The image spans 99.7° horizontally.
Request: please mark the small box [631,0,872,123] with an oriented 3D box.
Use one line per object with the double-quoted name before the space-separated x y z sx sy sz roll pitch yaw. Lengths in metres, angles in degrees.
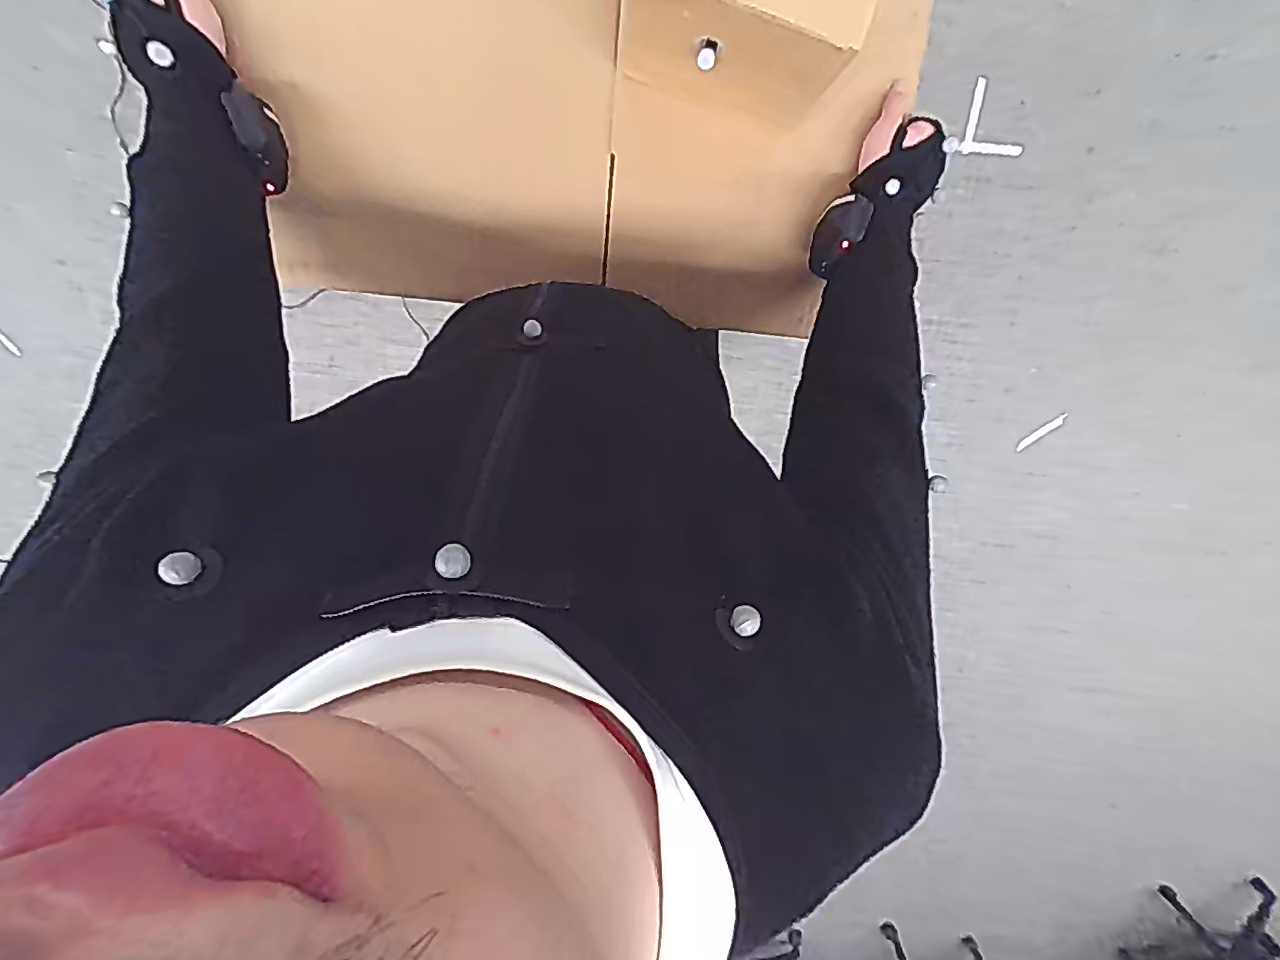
"small box" 0.095 -0.430 0.443 0.179 0.176 0.168 15 104 -6
